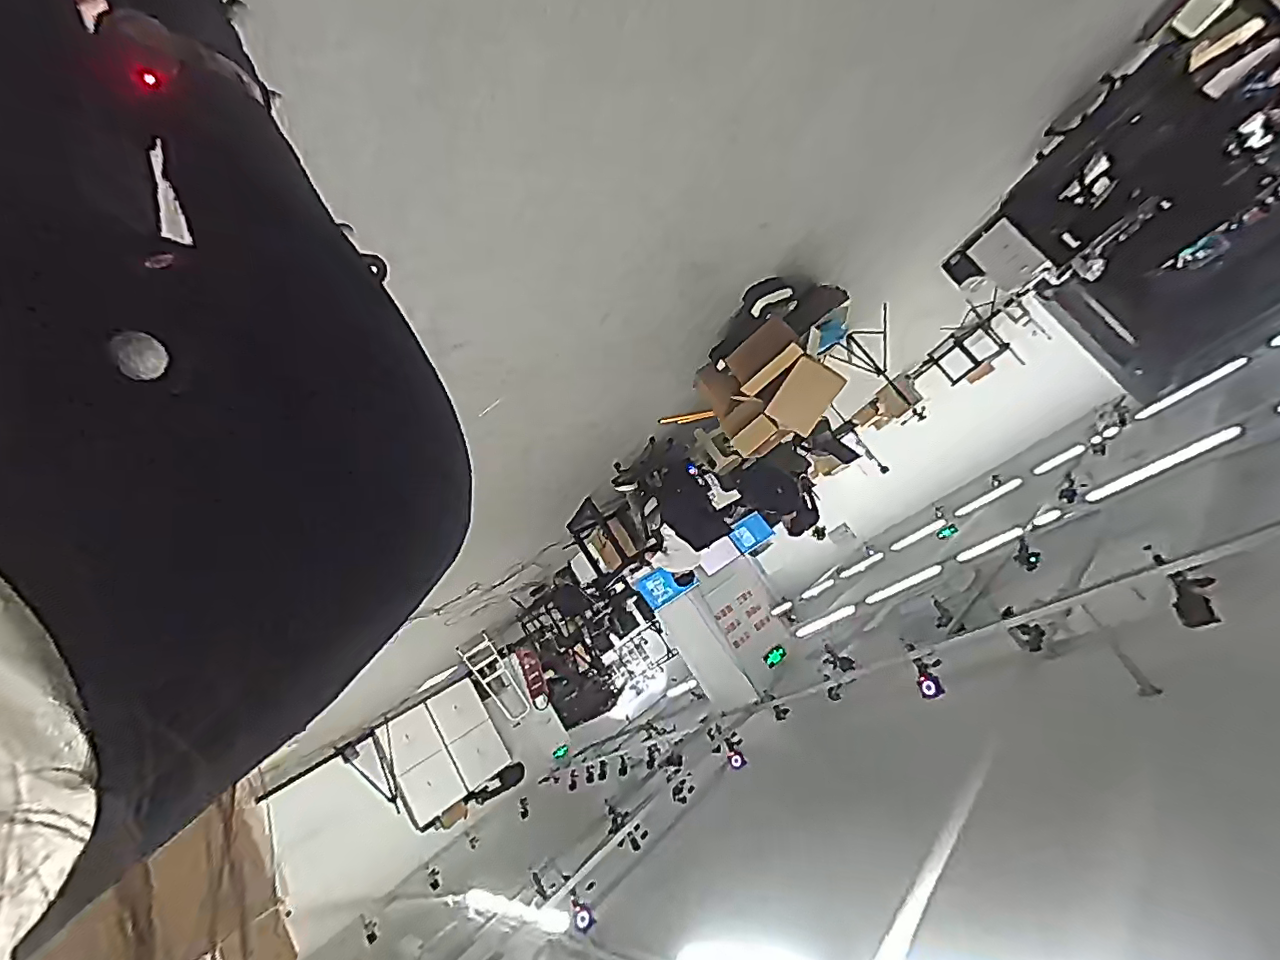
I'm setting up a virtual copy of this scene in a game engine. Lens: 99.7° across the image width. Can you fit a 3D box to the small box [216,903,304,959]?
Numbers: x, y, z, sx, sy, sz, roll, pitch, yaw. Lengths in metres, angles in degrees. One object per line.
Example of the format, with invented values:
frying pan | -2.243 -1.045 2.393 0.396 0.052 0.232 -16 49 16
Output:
small box | -1.180 1.466 1.682 0.168 0.176 0.179 -27 163 -34
